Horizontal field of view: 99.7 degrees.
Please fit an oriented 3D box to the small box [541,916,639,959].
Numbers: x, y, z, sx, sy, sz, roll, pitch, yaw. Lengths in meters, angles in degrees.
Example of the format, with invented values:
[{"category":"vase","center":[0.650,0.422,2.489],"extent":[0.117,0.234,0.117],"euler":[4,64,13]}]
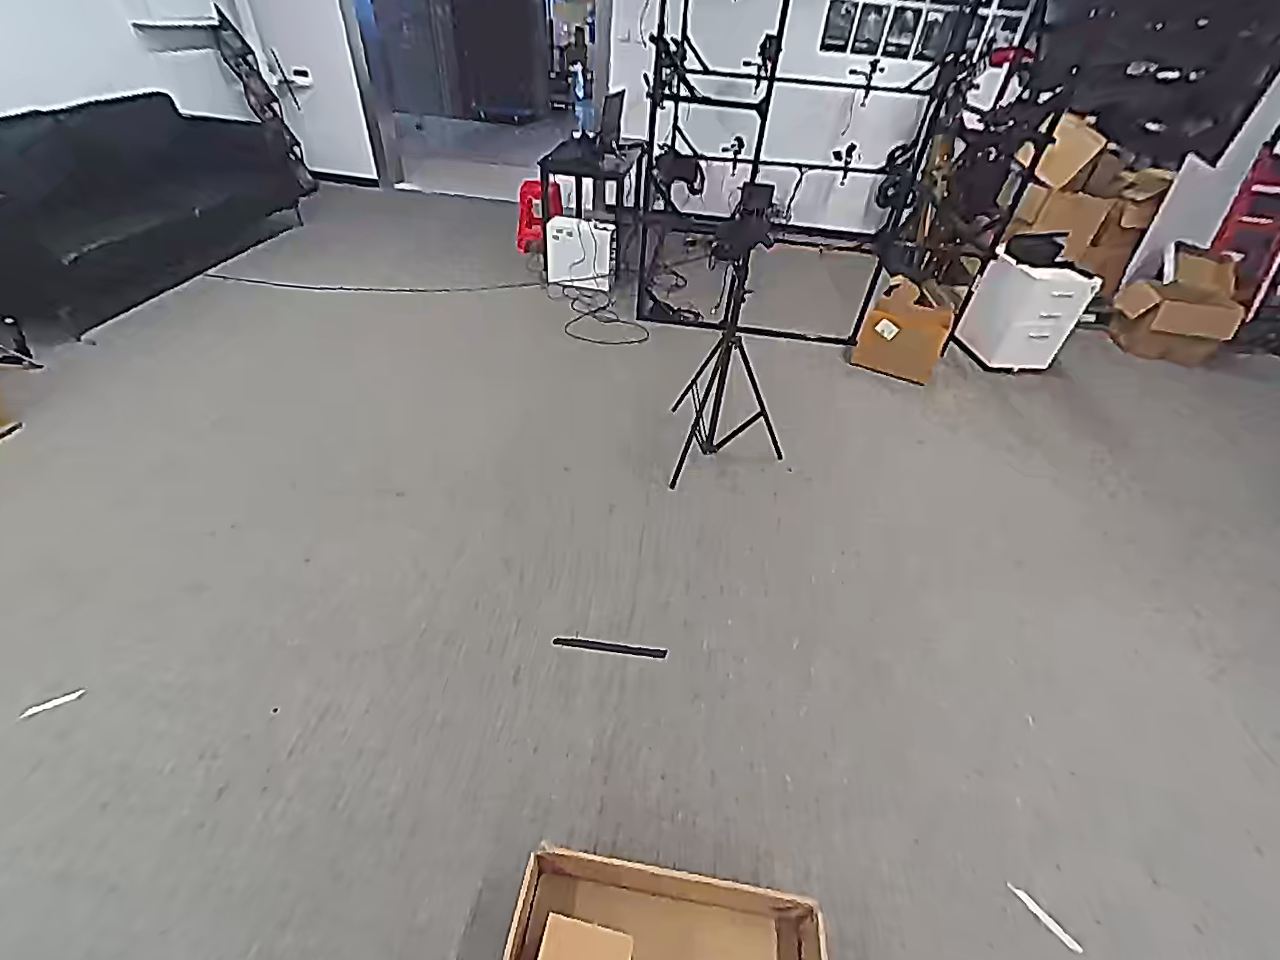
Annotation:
[{"category":"small box","center":[-0.108,0.974,1.033],"extent":[0.179,0.176,0.168],"euler":[10,40,6]}]
